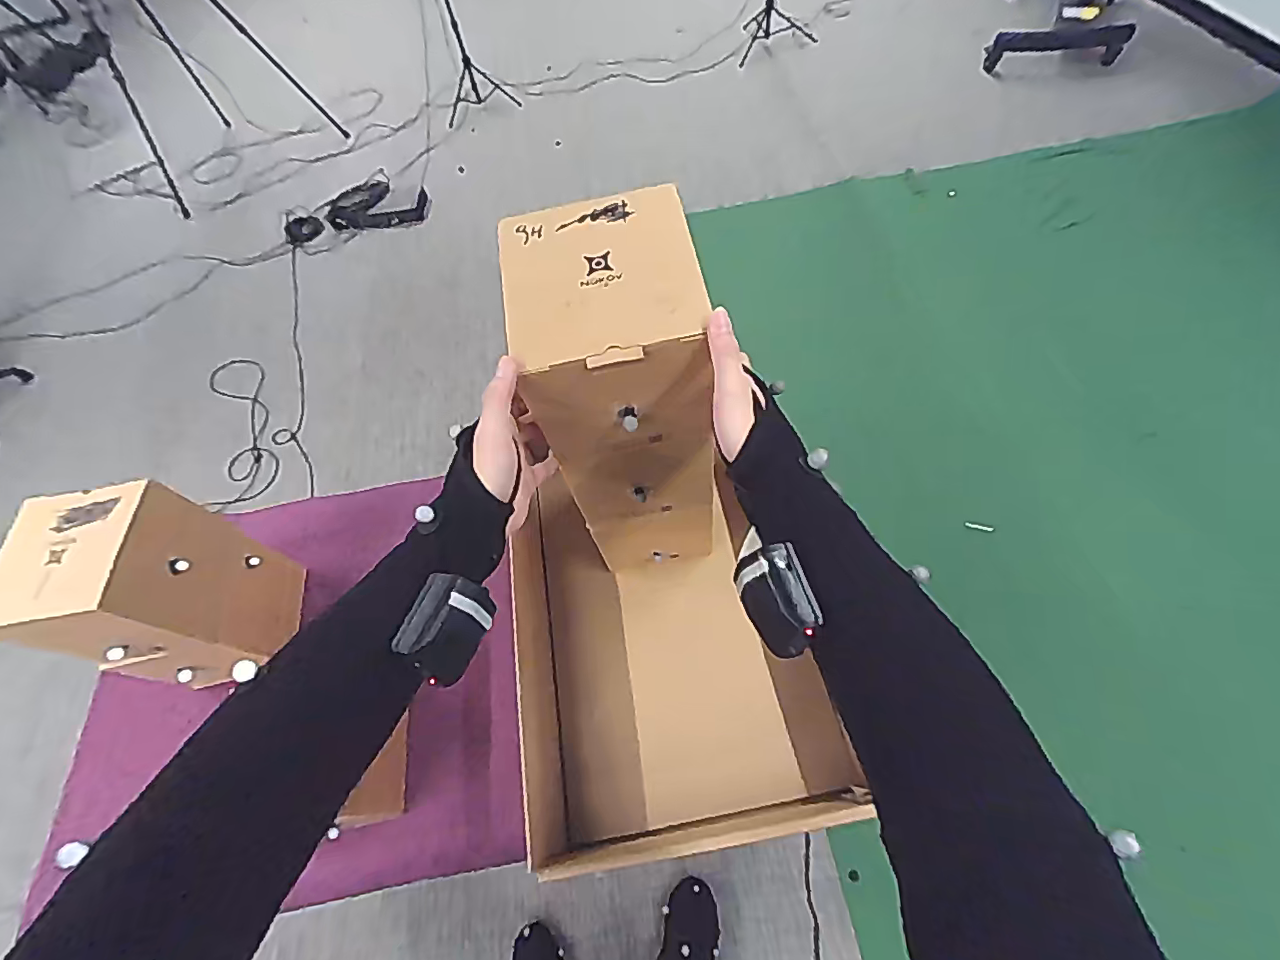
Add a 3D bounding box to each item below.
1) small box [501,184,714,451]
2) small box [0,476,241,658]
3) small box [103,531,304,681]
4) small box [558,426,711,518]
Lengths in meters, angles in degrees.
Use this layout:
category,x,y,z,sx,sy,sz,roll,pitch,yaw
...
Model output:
category,x,y,z,sx,sy,sz,roll,pitch,yaw
small box,-0.025,-0.141,0.526,0.168,0.176,0.179,-11,66,1
small box,-0.678,0.120,0.714,0.168,0.176,0.179,-9,59,2
small box,-0.666,0.207,0.854,0.168,0.176,0.179,-13,58,0
small box,-0.006,-0.065,0.675,0.168,0.176,0.179,-10,60,2
